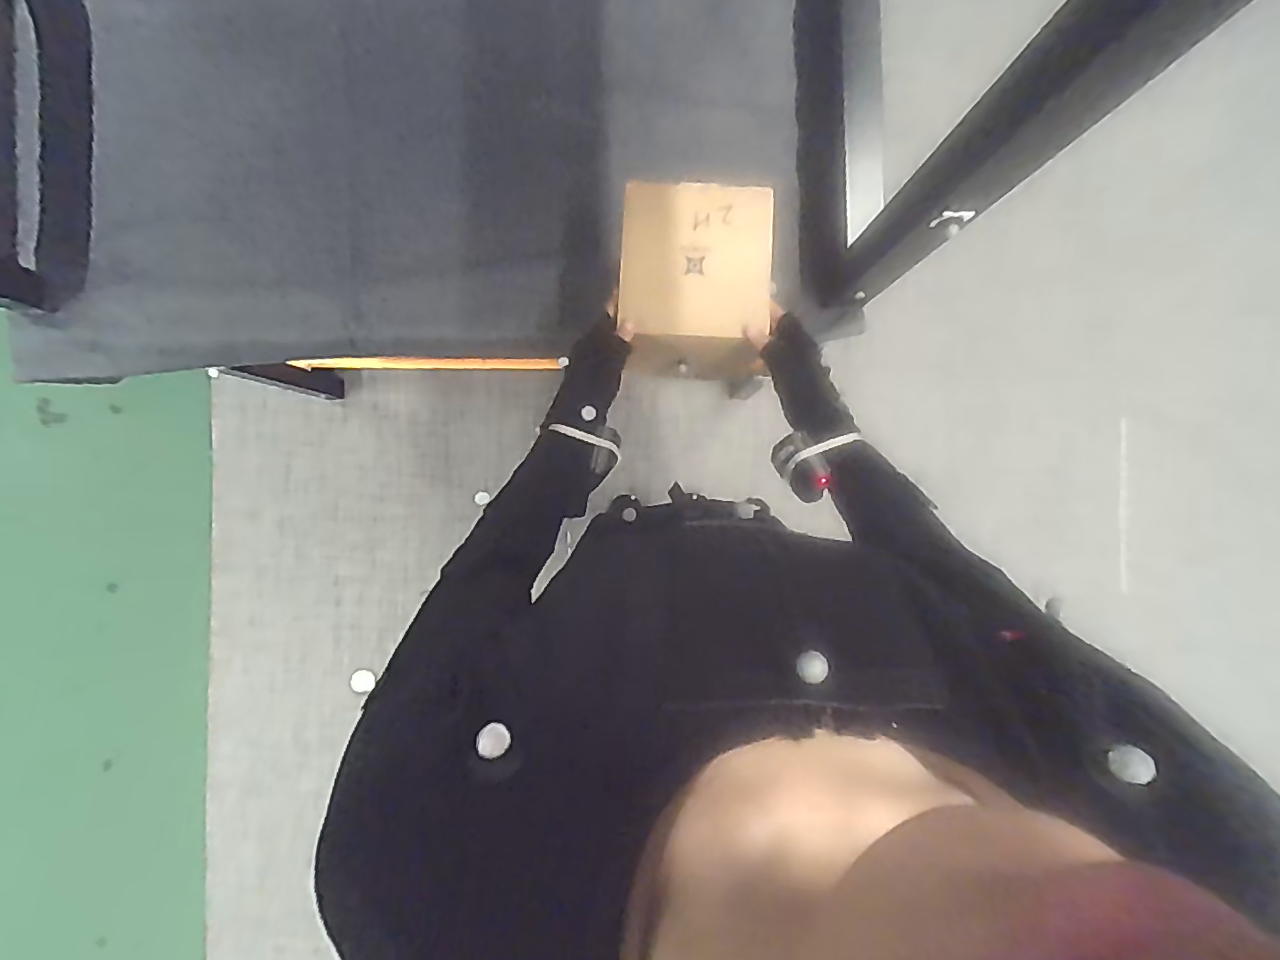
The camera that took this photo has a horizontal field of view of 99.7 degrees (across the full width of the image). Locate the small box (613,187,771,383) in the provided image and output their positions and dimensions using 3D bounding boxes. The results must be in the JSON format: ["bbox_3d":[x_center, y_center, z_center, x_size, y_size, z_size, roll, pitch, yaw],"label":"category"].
[{"bbox_3d":[0.059,-0.226,0.668,0.168,0.176,0.179,3,83,1],"label":"small box"}]
